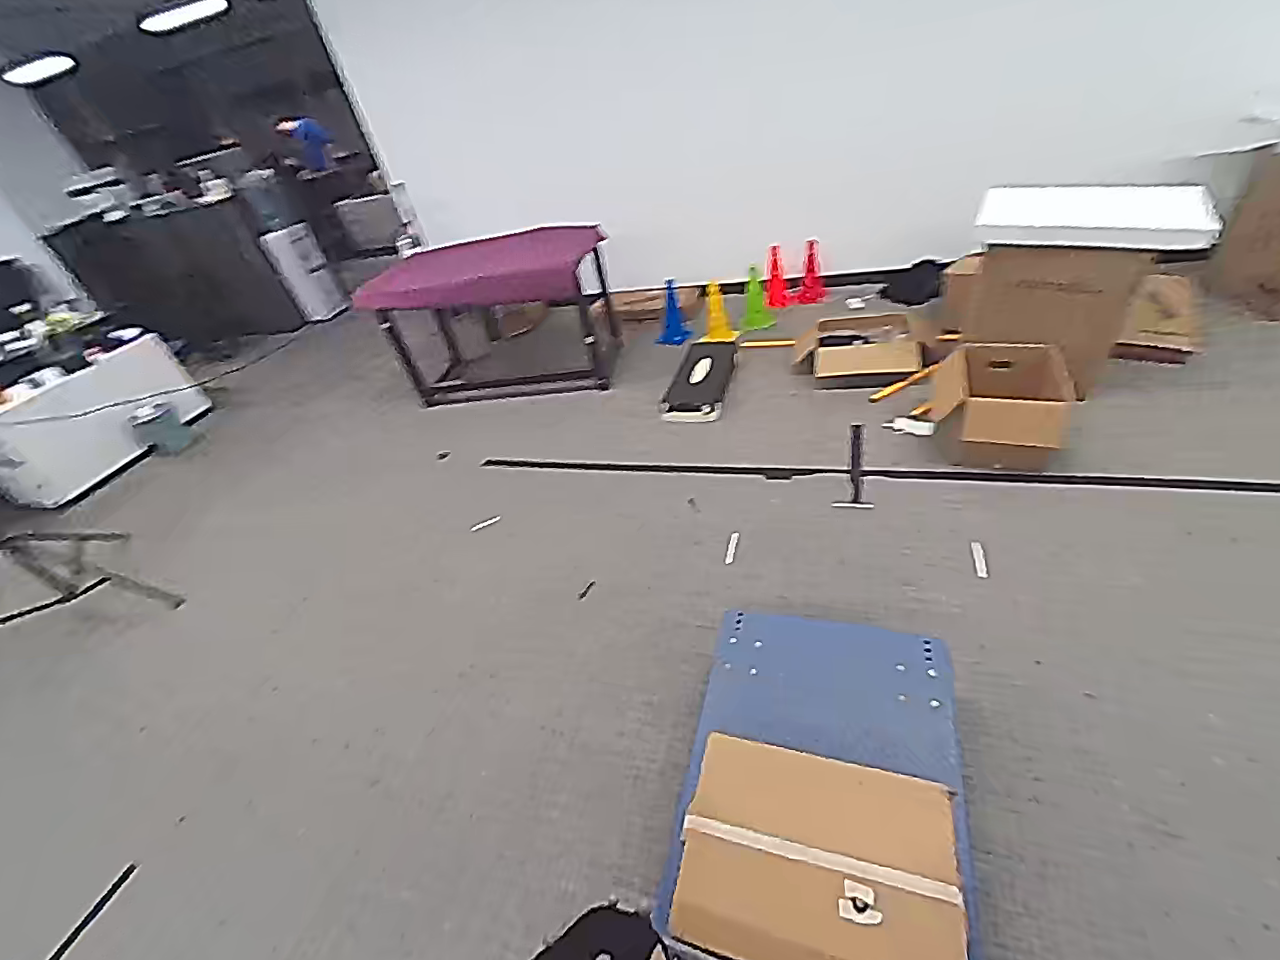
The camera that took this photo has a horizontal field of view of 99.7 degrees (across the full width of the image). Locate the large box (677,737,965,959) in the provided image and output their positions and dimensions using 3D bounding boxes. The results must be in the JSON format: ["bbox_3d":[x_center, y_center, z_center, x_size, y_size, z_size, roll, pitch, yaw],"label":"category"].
[{"bbox_3d":[0.305,0.712,0.953,0.408,0.320,0.320,4,43,19],"label":"large box"}]
